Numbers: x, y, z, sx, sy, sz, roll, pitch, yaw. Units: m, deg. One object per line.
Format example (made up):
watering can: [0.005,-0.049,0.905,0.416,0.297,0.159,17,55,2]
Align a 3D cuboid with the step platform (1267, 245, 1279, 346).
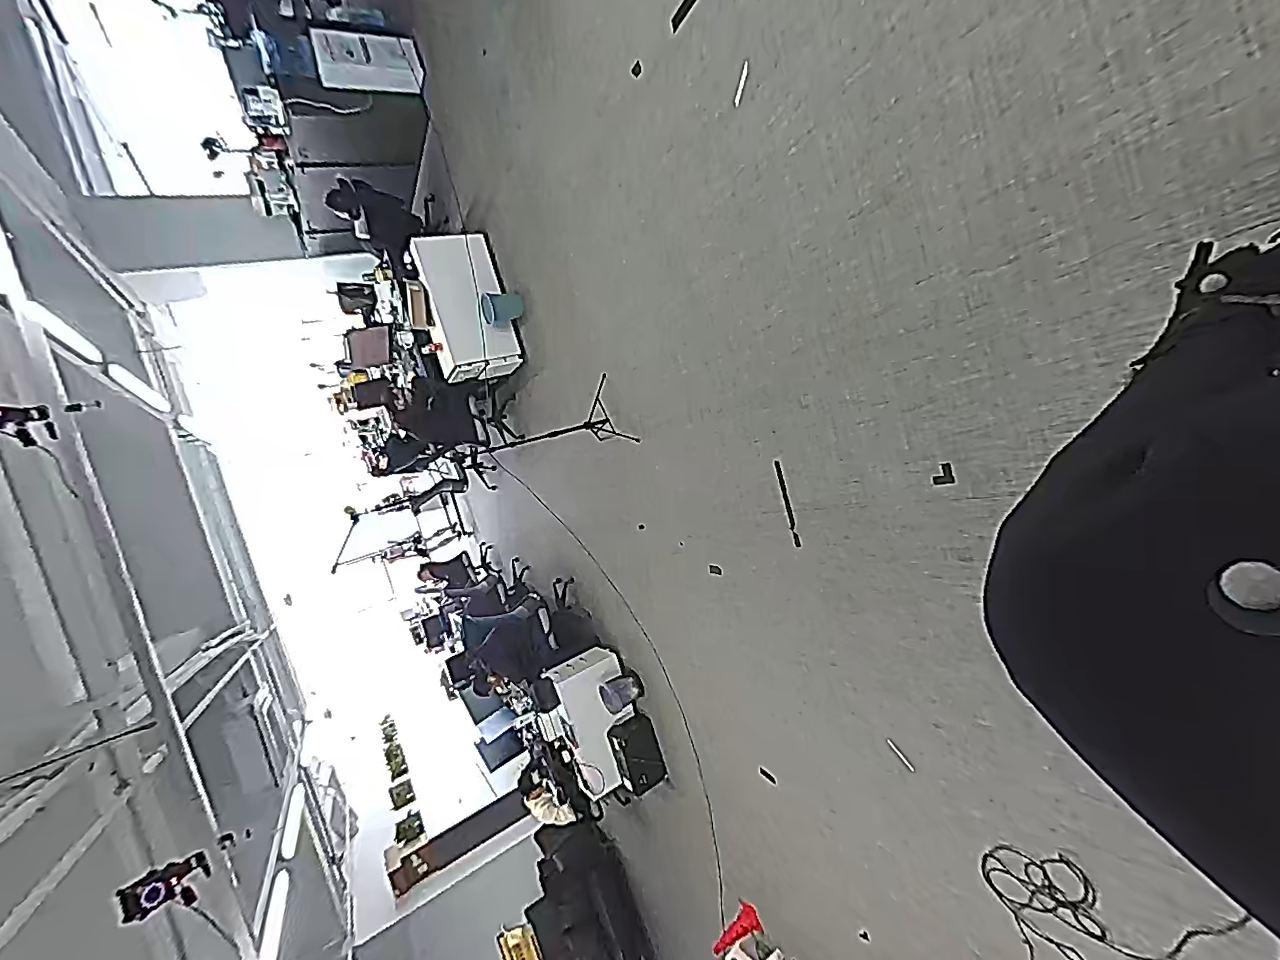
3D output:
step platform: [1.364,-0.334,0.723,0.684,0.204,0.286,-13,96,60]
